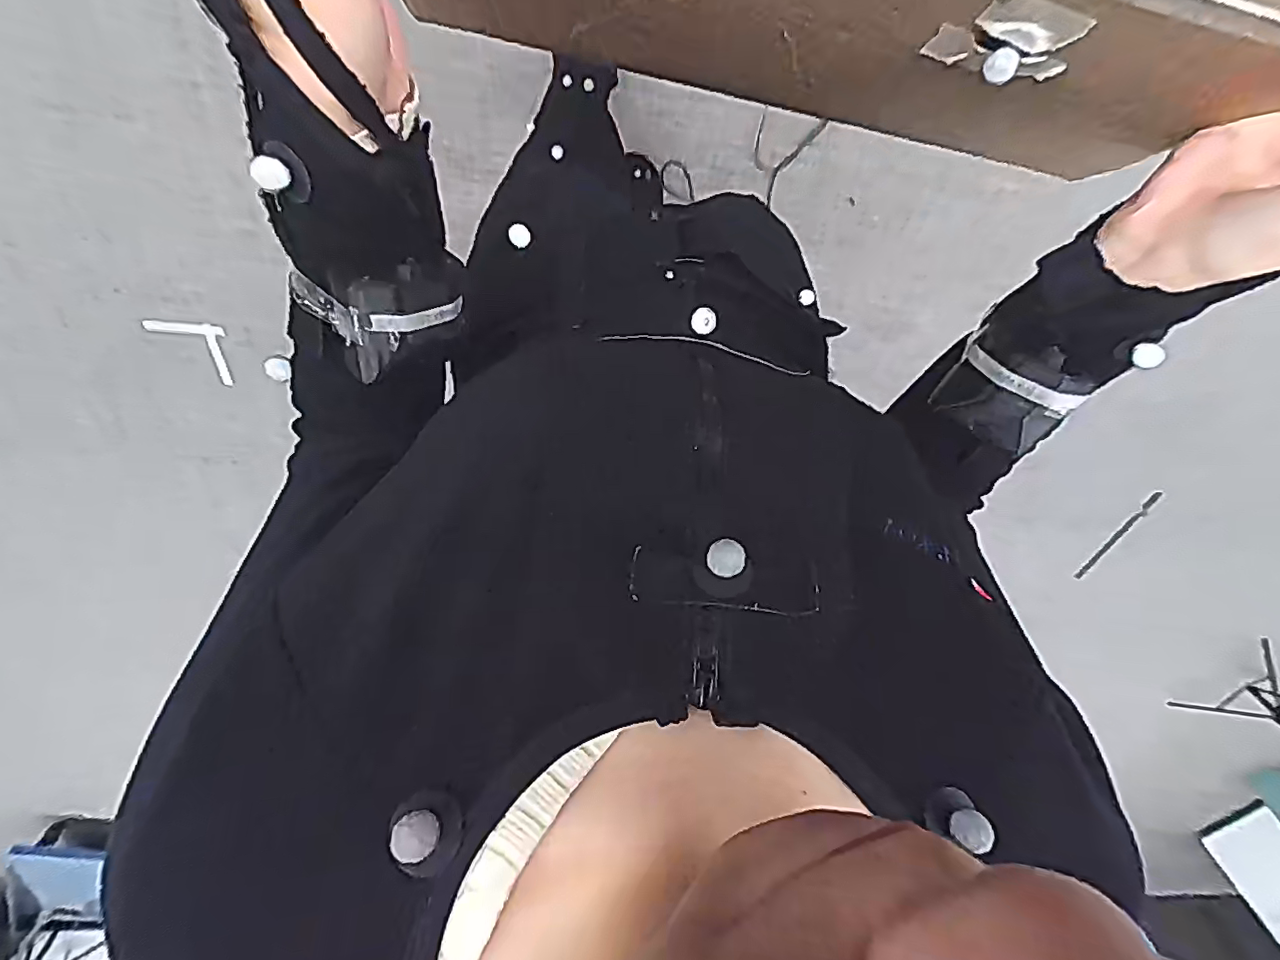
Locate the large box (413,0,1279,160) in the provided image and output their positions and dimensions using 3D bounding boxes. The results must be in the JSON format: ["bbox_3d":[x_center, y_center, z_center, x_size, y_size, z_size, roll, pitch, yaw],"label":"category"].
[{"bbox_3d":[0.109,-0.335,0.137,0.408,0.320,0.320,8,104,-7],"label":"large box"}]
